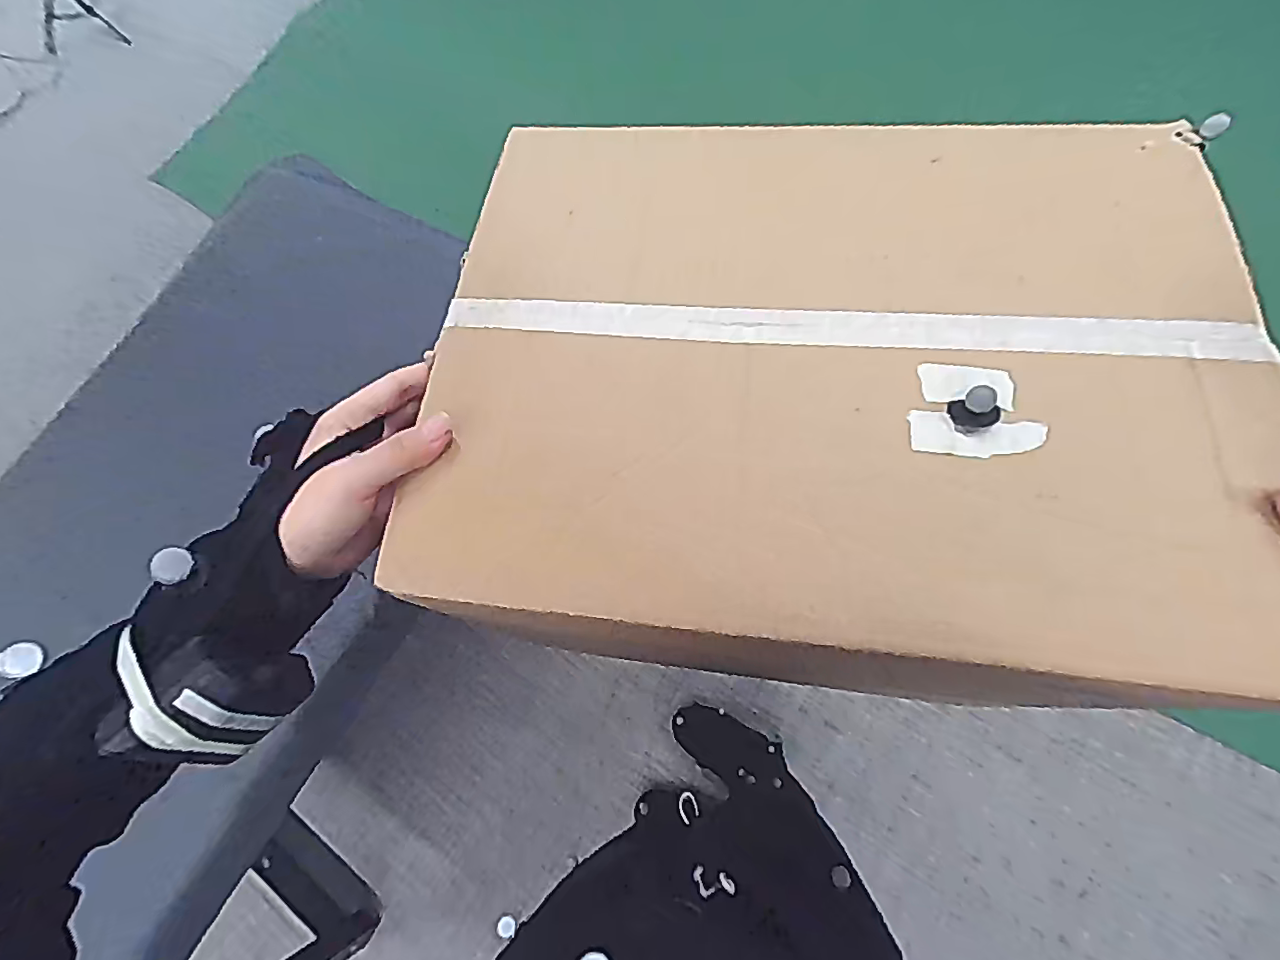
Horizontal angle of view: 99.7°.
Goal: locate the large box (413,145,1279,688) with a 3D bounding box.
[{"bbox_3d":[0.110,-0.022,0.434,0.408,0.320,0.320,5,68,7],"label":"large box"}]
